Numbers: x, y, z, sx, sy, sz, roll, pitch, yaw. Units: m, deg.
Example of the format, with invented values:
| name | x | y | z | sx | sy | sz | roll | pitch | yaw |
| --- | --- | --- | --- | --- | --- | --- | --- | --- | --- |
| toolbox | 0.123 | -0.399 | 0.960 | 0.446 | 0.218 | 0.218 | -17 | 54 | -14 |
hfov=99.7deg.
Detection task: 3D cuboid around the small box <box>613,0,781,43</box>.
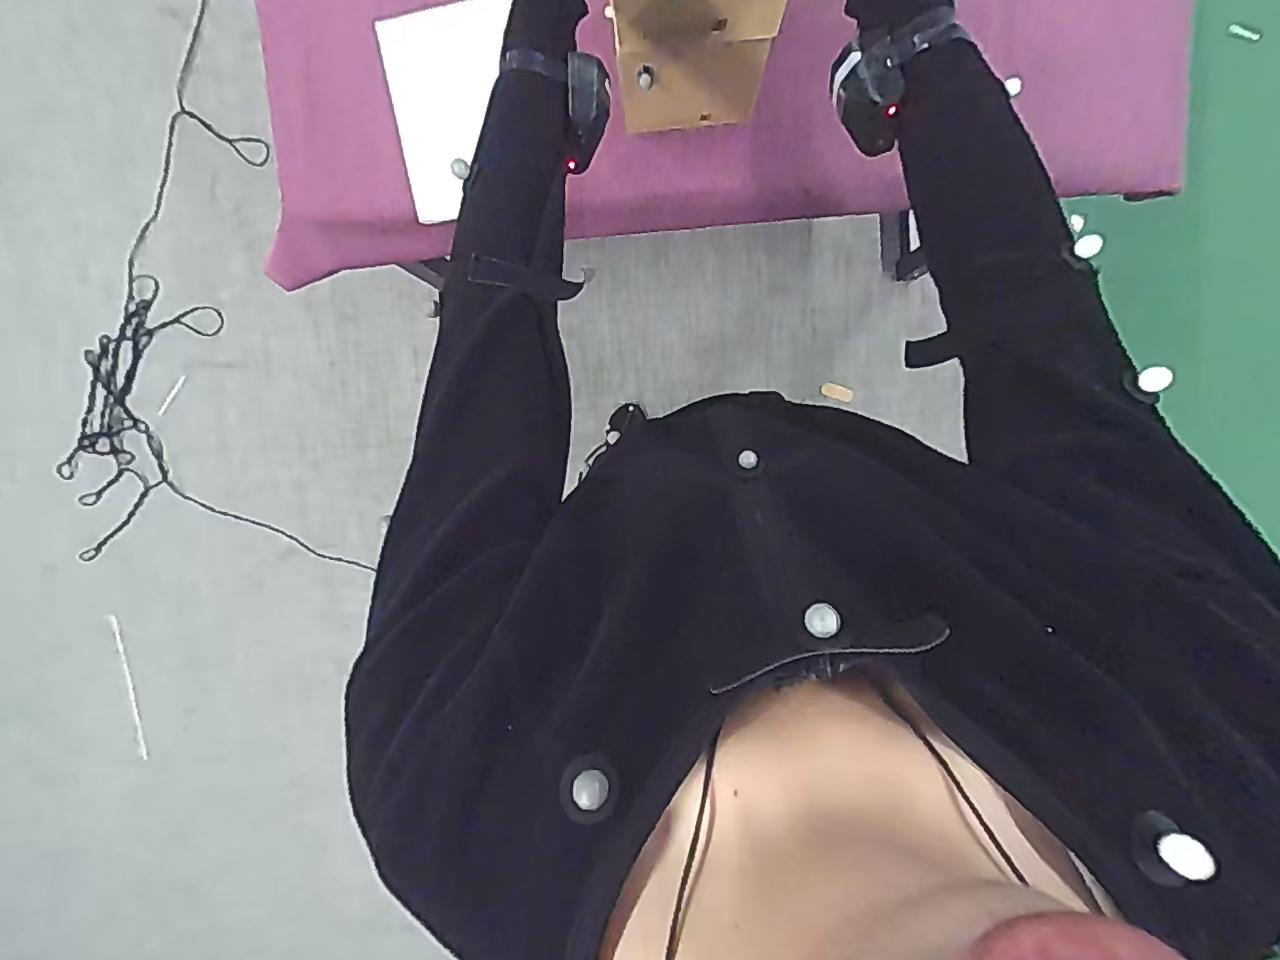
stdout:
| name | x | y | z | sx | sy | sz | roll | pitch | yaw |
| --- | --- | --- | --- | --- | --- | --- | --- | --- | --- |
| small box | 0.050 | -0.528 | 0.476 | 0.168 | 0.176 | 0.179 | -3 | 94 | 3 |
